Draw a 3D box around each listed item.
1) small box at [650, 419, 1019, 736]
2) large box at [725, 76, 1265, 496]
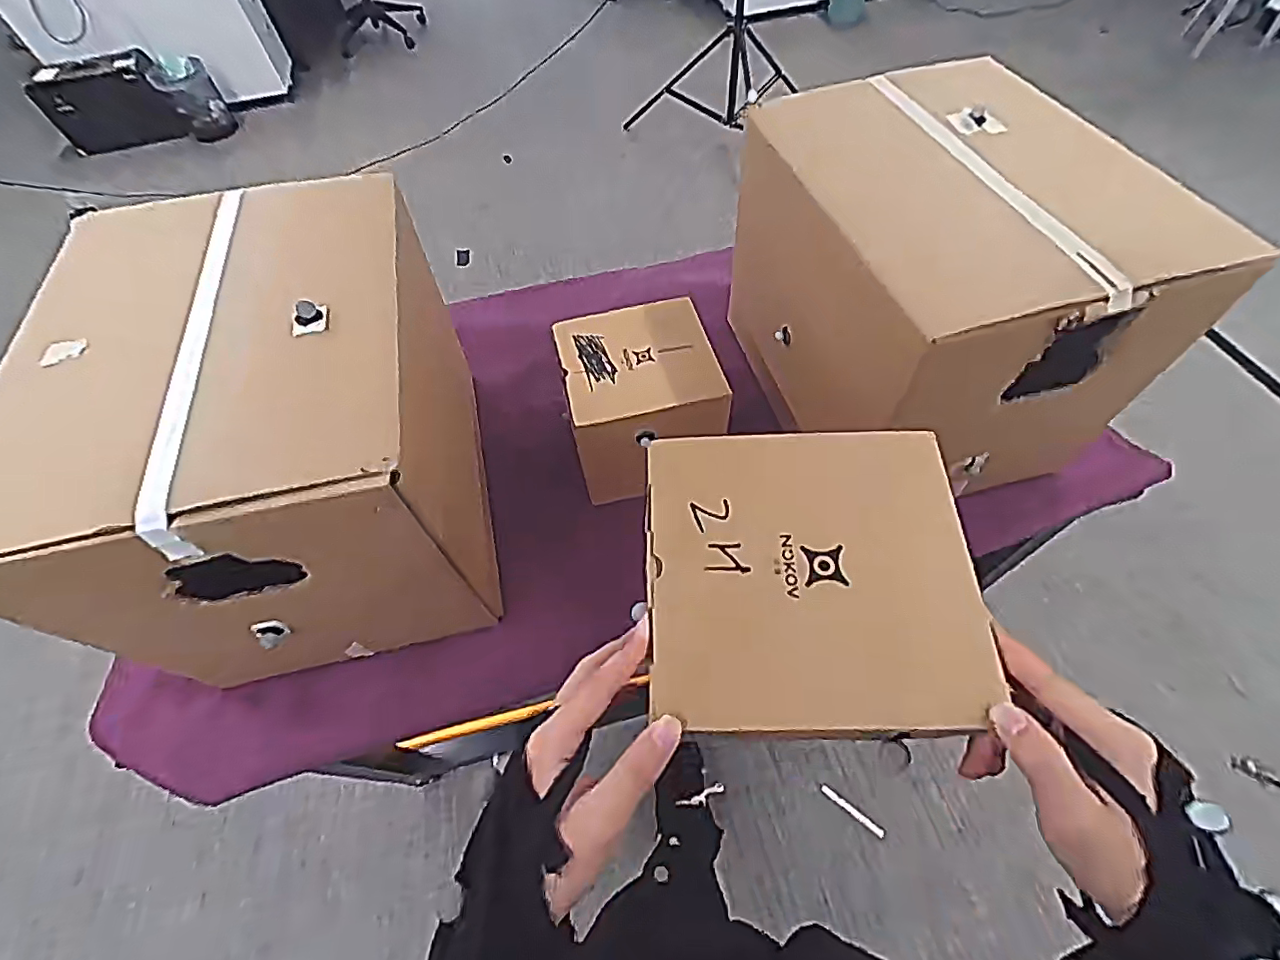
[{"bbox_3d":[0.097,0.075,0.363,0.179,0.176,0.168,-2,61,3],"label":"small box"},{"bbox_3d":[0.320,-0.210,0.652,0.320,0.320,0.408,-14,56,-6],"label":"large box"}]
